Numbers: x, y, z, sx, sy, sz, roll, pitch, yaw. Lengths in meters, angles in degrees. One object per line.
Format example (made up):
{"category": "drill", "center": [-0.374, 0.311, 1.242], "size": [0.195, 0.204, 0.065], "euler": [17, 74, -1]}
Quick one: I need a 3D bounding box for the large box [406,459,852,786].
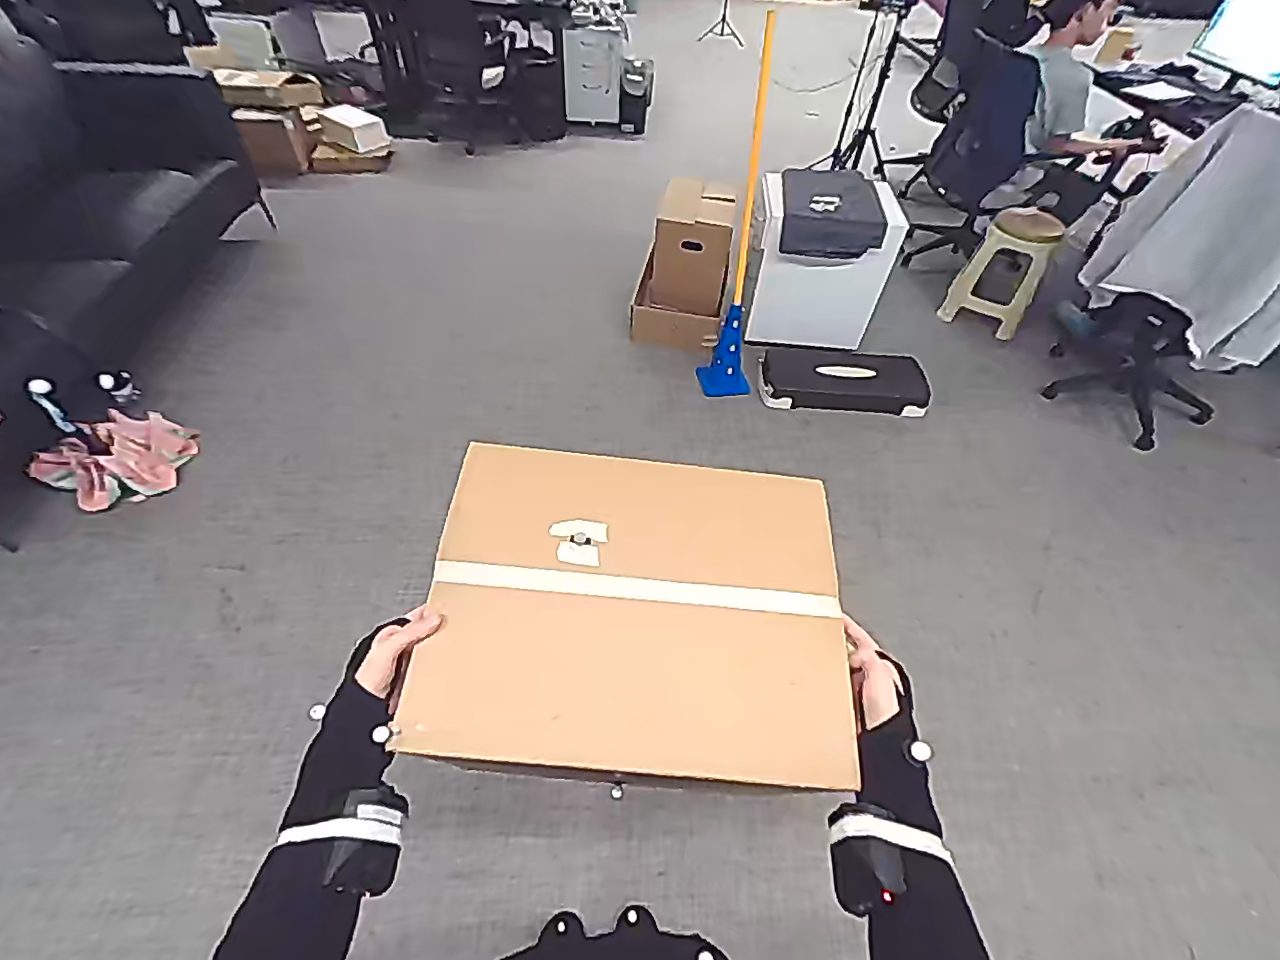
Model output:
{"category": "large box", "center": [-0.007, 0.197, 0.678], "size": [0.408, 0.320, 0.320], "euler": [6, 58, -1]}
